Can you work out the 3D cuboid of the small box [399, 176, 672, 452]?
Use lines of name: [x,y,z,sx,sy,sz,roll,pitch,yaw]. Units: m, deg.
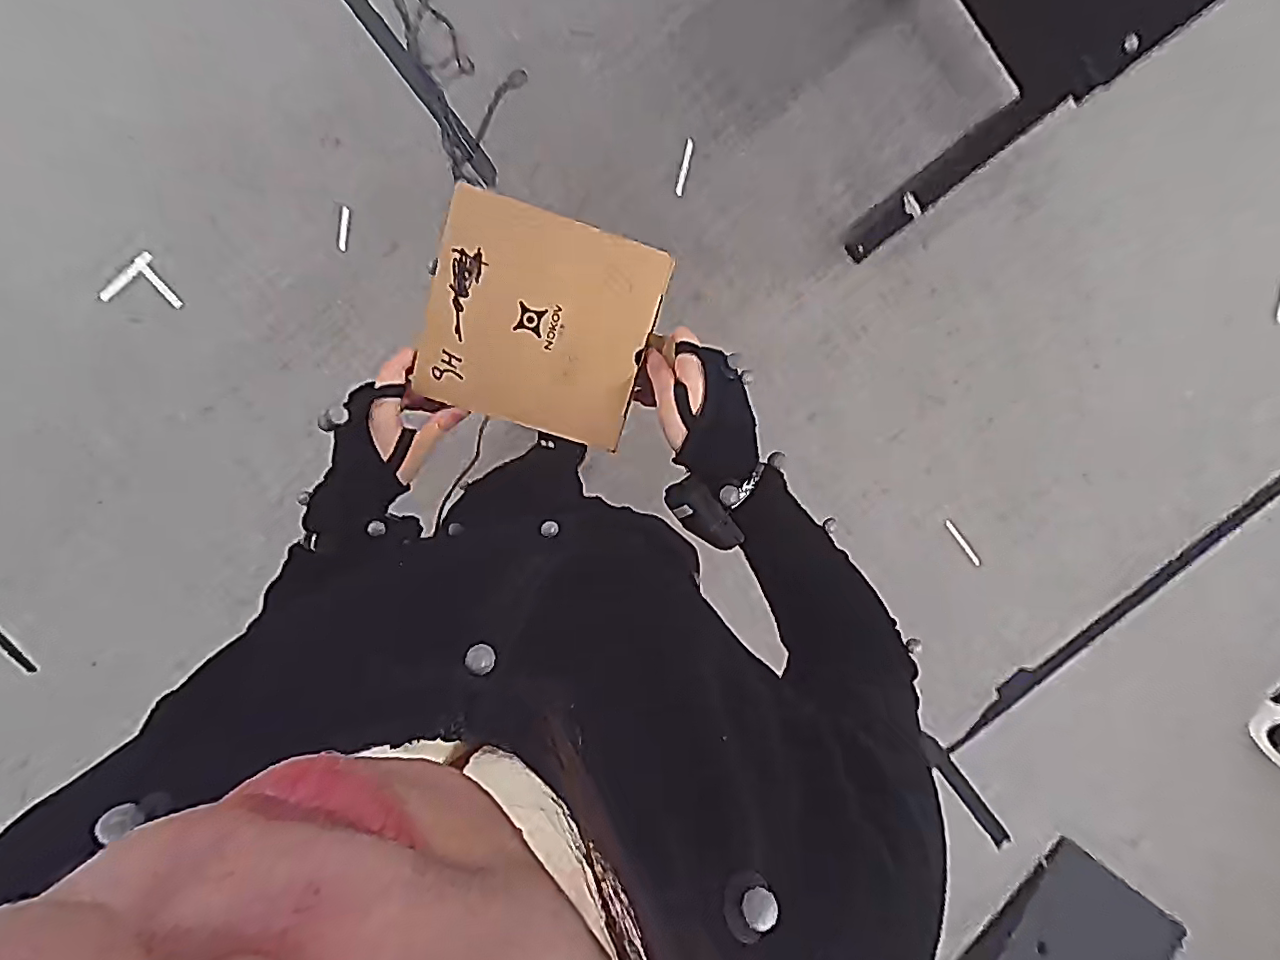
small box: [-0.088,-0.140,0.495,0.179,0.176,0.168,17,100,-8]
